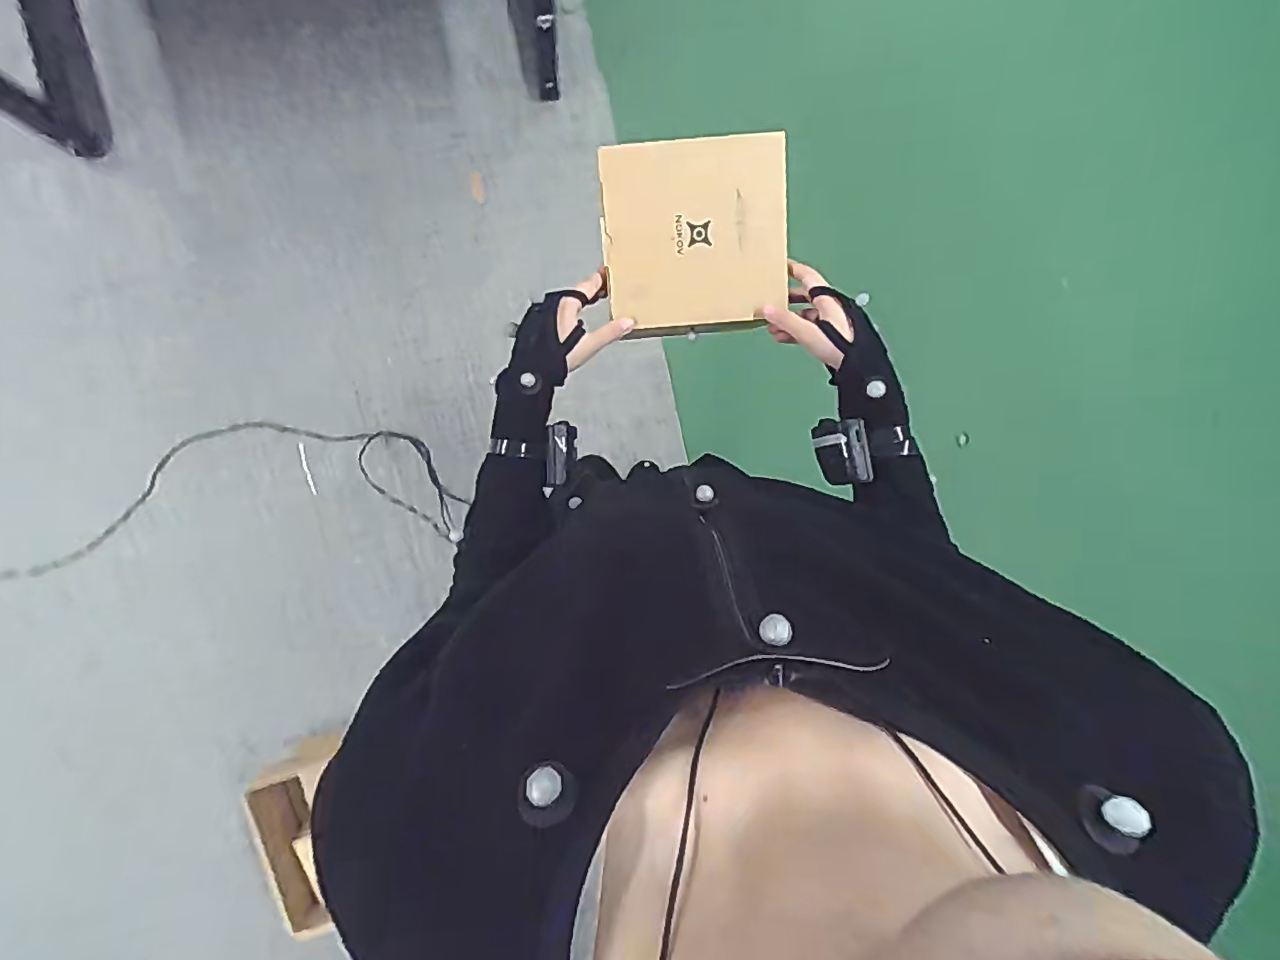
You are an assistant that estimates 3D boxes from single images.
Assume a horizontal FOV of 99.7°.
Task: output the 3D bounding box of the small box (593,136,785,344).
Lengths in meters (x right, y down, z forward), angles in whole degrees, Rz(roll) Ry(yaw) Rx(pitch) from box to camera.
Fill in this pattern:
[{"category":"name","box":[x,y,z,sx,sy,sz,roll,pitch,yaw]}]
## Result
[{"category":"small box","box":[0.052,-0.245,0.595,0.179,0.176,0.168,-5,100,3]}]
